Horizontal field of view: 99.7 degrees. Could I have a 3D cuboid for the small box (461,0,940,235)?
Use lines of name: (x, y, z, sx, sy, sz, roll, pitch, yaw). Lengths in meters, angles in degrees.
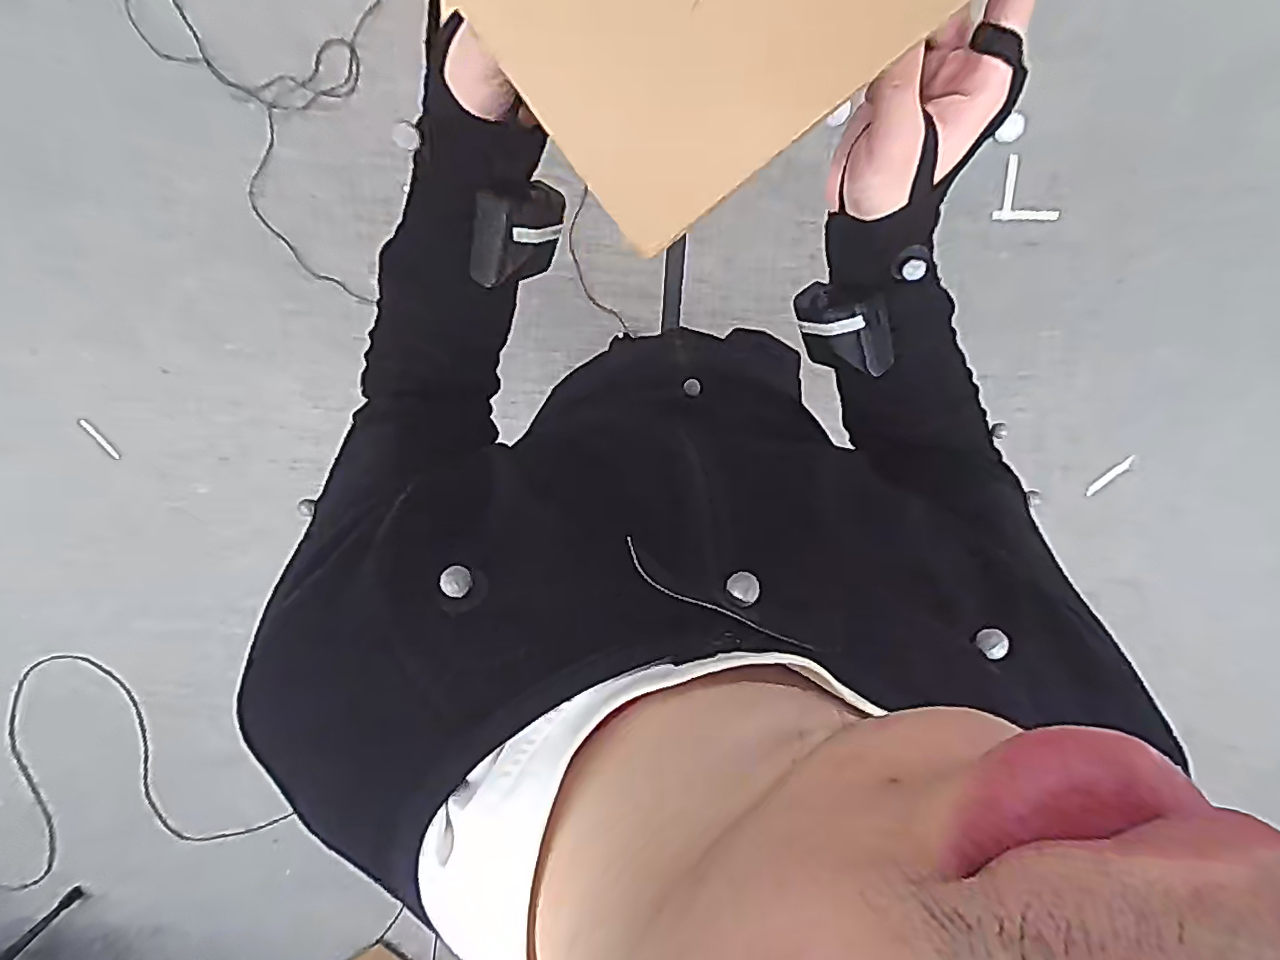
small box: (0.026, -0.223, 0.180, 0.168, 0.176, 0.179, -28, 116, 33)
